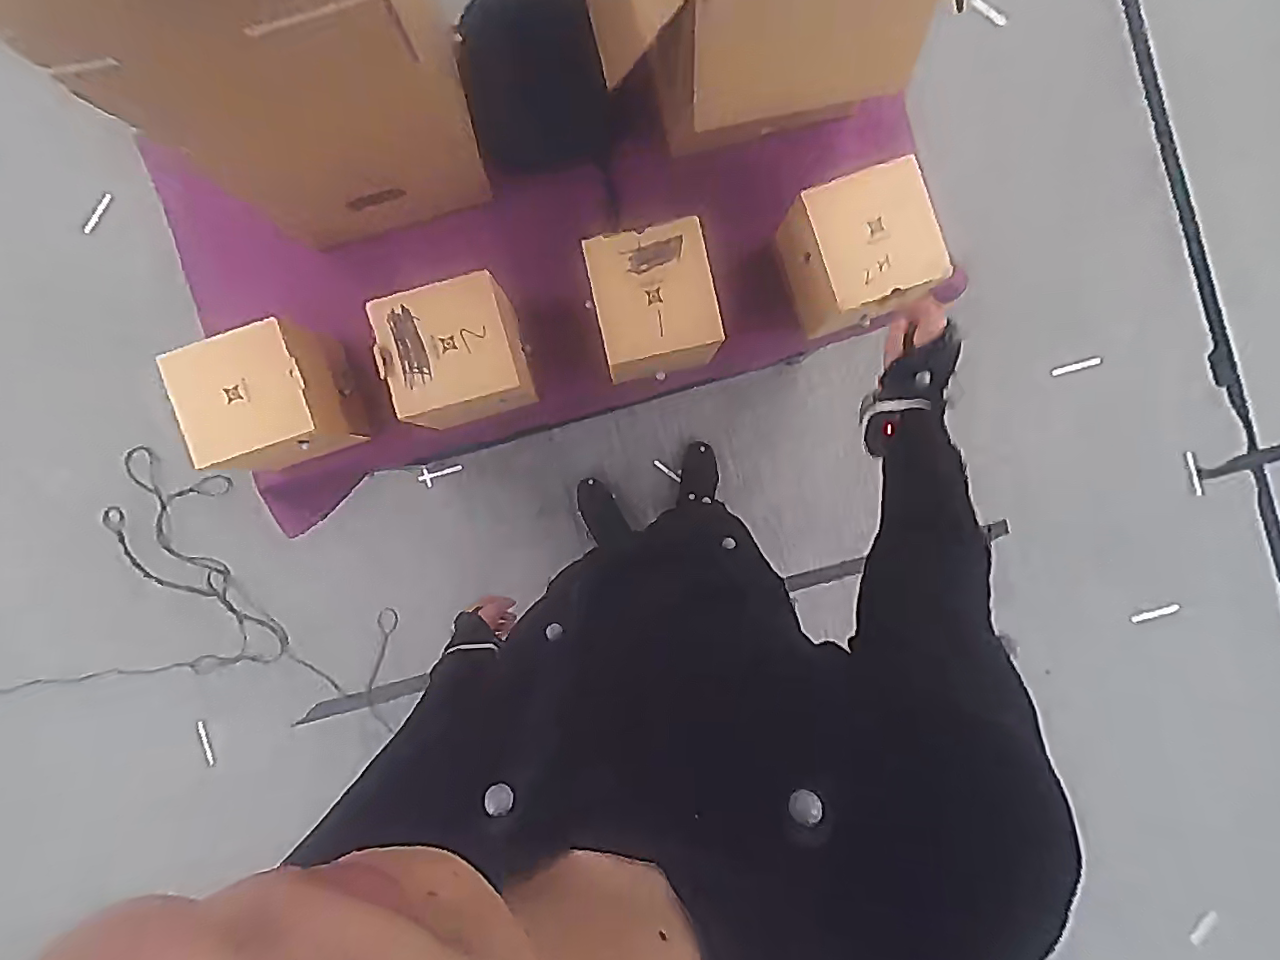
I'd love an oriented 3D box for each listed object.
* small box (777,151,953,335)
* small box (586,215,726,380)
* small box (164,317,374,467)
[{"bbox_3d":[0.323,-0.342,0.814,0.168,0.176,0.179,-19,92,1],"label":"small box"},{"bbox_3d":[0.020,-0.262,0.816,0.168,0.176,0.179,-13,92,0],"label":"small box"},{"bbox_3d":[-0.543,-0.120,0.816,0.179,0.176,0.168,-19,91,-1],"label":"small box"}]
